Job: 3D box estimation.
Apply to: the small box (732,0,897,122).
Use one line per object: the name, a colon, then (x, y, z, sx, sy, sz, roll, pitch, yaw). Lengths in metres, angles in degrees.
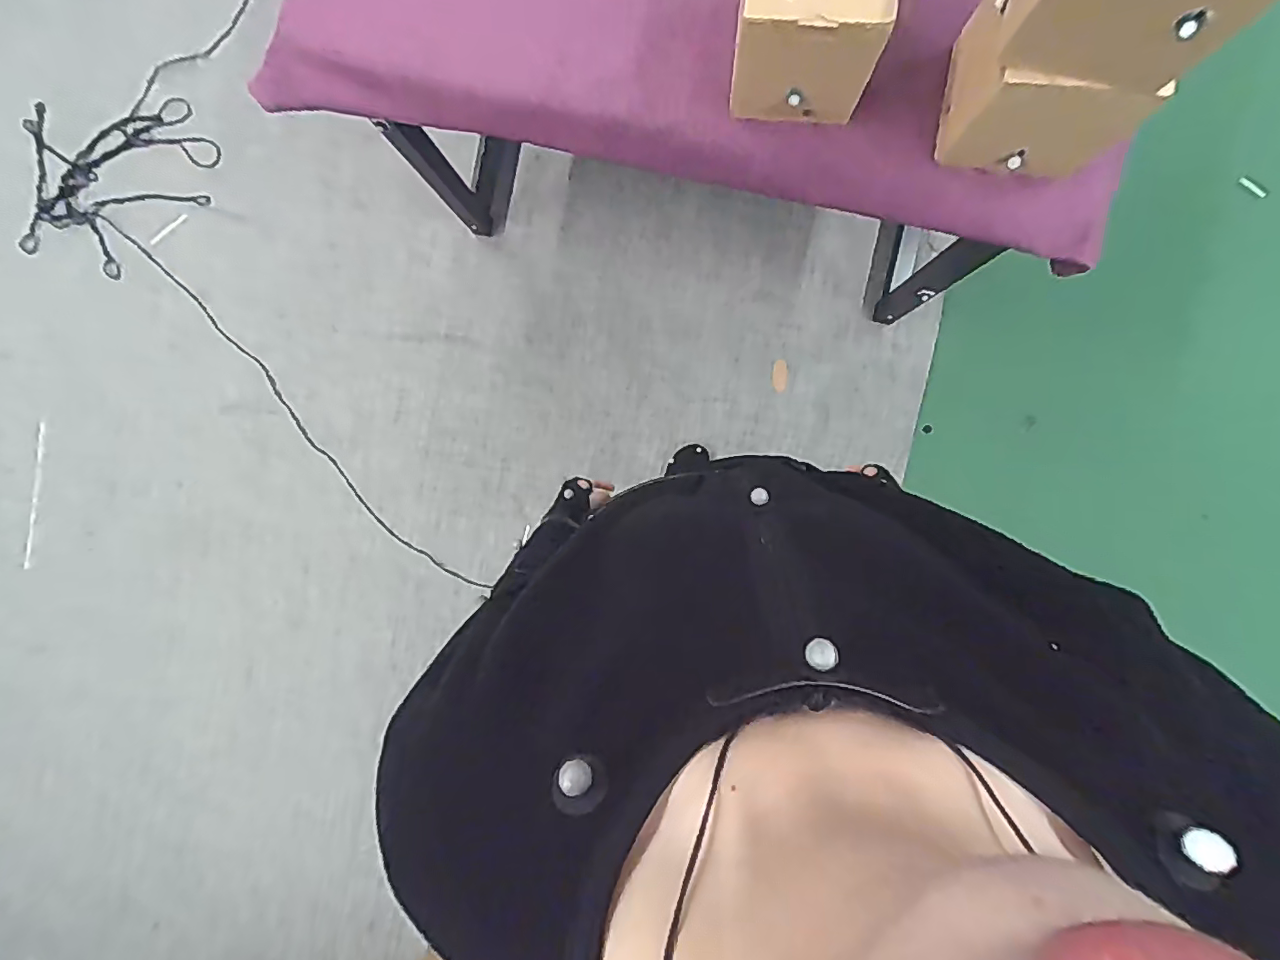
small box: (0.209, -0.587, 0.667, 0.168, 0.176, 0.179, 6, 92, 5)

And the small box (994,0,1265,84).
small box: (0.470, -0.502, 0.486, 0.179, 0.176, 0.168, 15, 93, 5)

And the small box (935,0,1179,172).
small box: (0.492, -0.499, 0.648, 0.179, 0.176, 0.168, 9, 92, 4)
